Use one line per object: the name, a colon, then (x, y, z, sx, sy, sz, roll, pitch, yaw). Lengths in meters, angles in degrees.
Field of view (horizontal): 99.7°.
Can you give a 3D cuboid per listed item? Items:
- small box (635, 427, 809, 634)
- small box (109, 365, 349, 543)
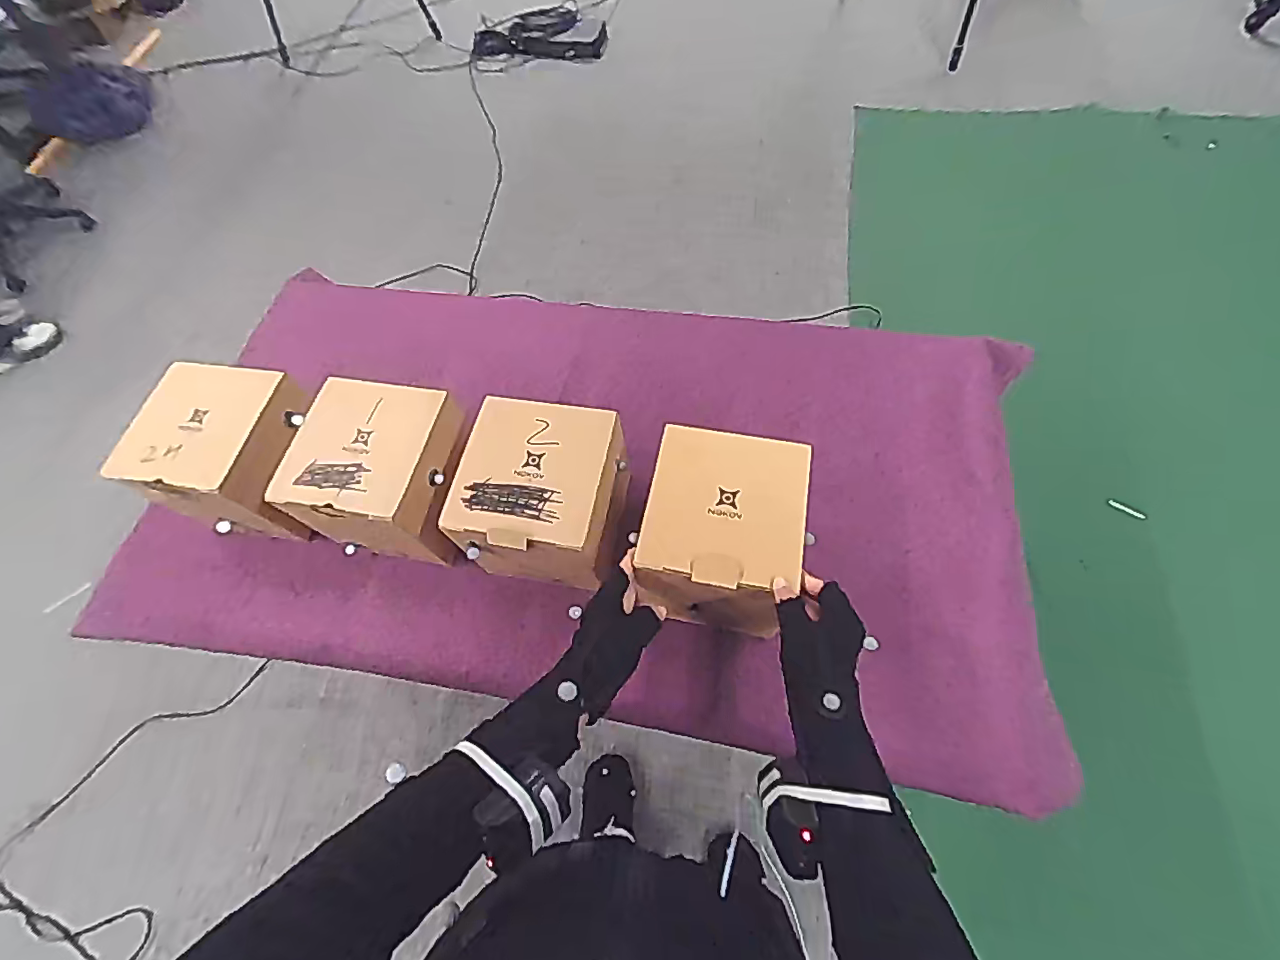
small box: (0.093, 0.064, 0.642, 0.168, 0.176, 0.179, 10, 62, 8)
small box: (-0.541, -0.032, 0.747, 0.168, 0.176, 0.179, 7, 64, 9)
